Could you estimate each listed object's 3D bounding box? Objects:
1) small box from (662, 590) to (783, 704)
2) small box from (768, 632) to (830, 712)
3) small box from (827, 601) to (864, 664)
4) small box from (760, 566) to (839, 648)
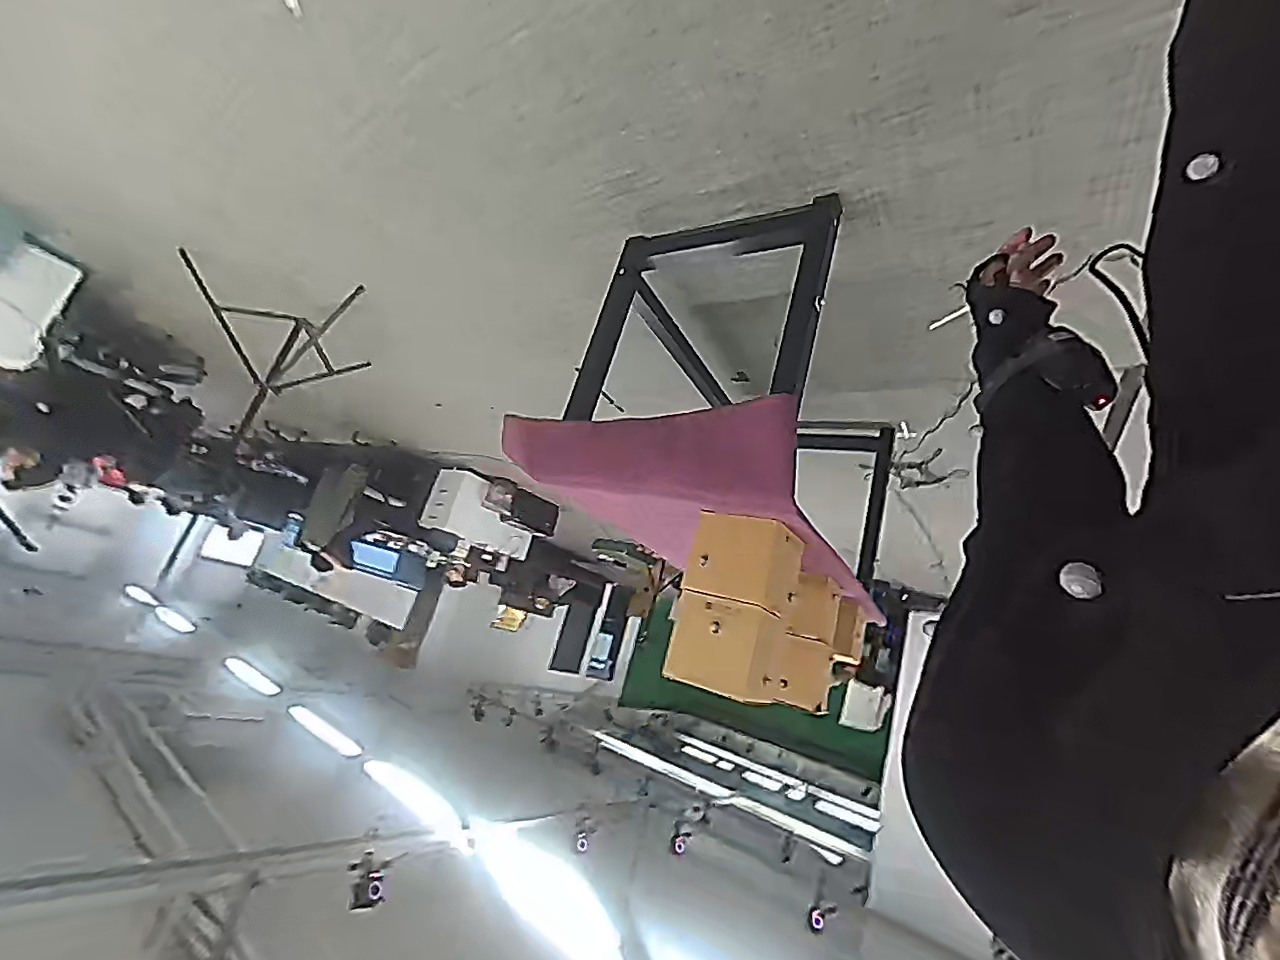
[{"bbox_3d":[0.171,0.328,1.066,0.168,0.176,0.179,7,162,32],"label":"small box"},{"bbox_3d":[0.388,0.491,1.408,0.179,0.176,0.168,6,162,33],"label":"small box"},{"bbox_3d":[0.621,0.482,1.756,0.179,0.176,0.168,7,160,34],"label":"small box"},{"bbox_3d":[0.429,0.339,1.459,0.168,0.176,0.179,5,161,33],"label":"small box"}]
